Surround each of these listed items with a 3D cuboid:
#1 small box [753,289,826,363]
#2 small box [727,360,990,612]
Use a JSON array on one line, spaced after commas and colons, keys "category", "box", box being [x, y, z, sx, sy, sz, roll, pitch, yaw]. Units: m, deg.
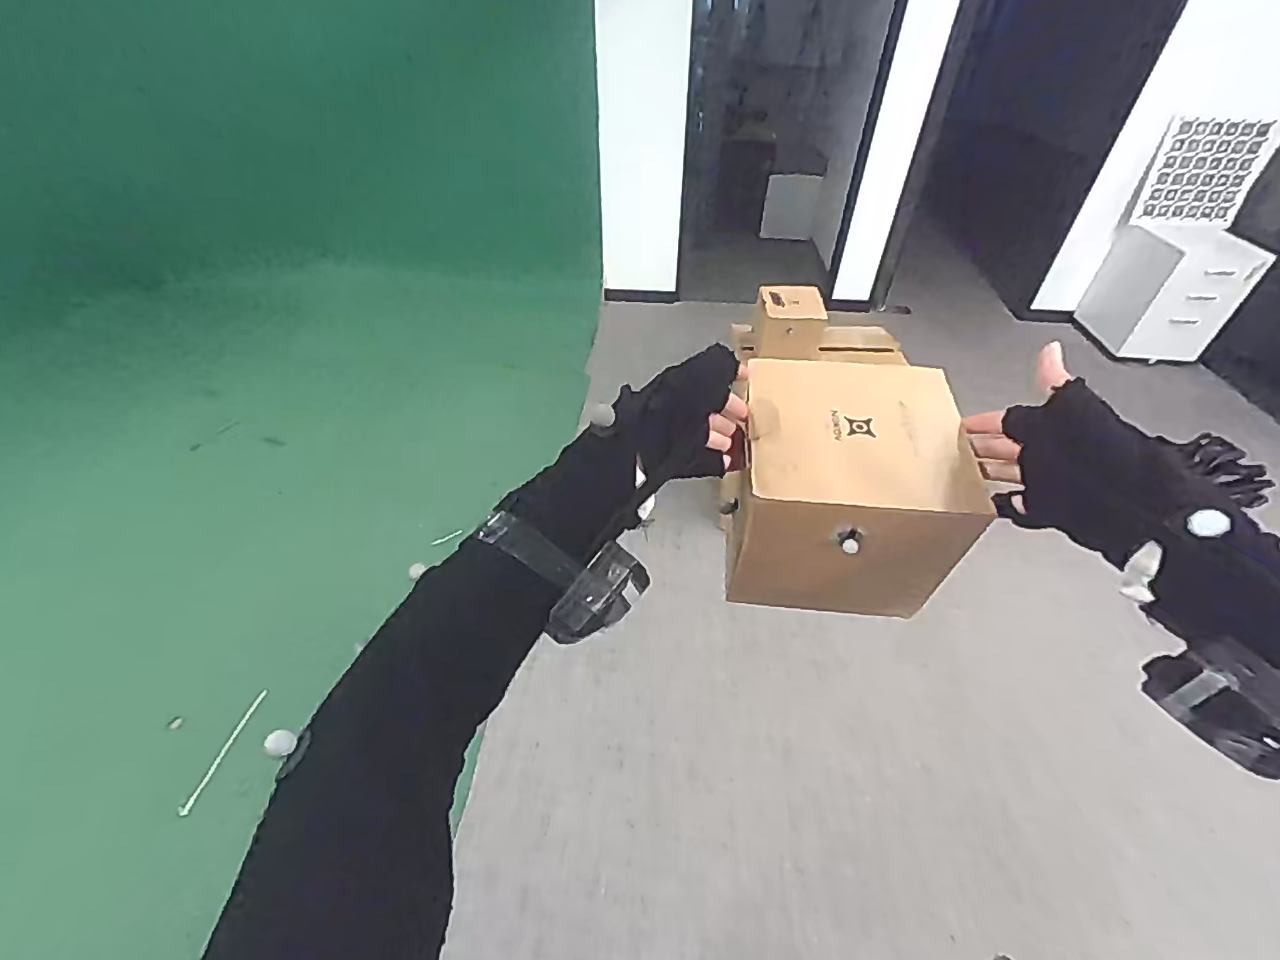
[{"category": "small box", "box": [0.450, -0.467, 1.662, 0.179, 0.176, 0.168, 1, 51, -1]}, {"category": "small box", "box": [0.177, 0.009, 0.507, 0.179, 0.176, 0.168, 5, 51, 3]}]
